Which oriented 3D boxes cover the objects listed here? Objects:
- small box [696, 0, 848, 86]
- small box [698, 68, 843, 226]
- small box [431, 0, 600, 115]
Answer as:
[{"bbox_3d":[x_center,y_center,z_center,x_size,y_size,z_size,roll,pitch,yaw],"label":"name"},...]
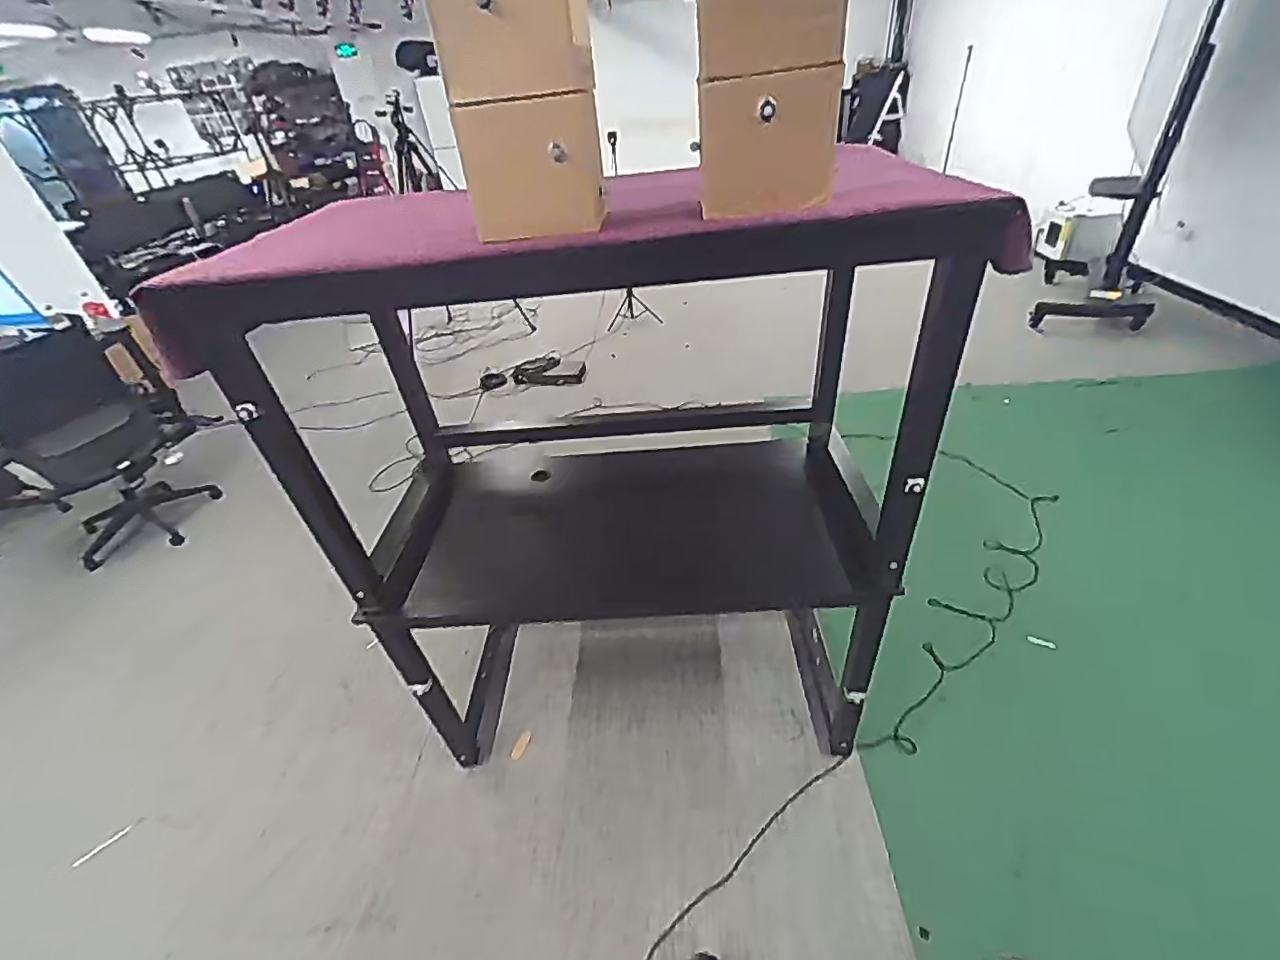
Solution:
[{"bbox_3d":[0.159,-0.602,0.676,0.179,0.176,0.168,-2,39,7],"label":"small box"},{"bbox_3d":[0.177,-0.474,0.773,0.179,0.176,0.168,-2,38,7],"label":"small box"},{"bbox_3d":[-0.158,-0.587,0.704,0.179,0.176,0.168,-3,36,6],"label":"small box"}]
